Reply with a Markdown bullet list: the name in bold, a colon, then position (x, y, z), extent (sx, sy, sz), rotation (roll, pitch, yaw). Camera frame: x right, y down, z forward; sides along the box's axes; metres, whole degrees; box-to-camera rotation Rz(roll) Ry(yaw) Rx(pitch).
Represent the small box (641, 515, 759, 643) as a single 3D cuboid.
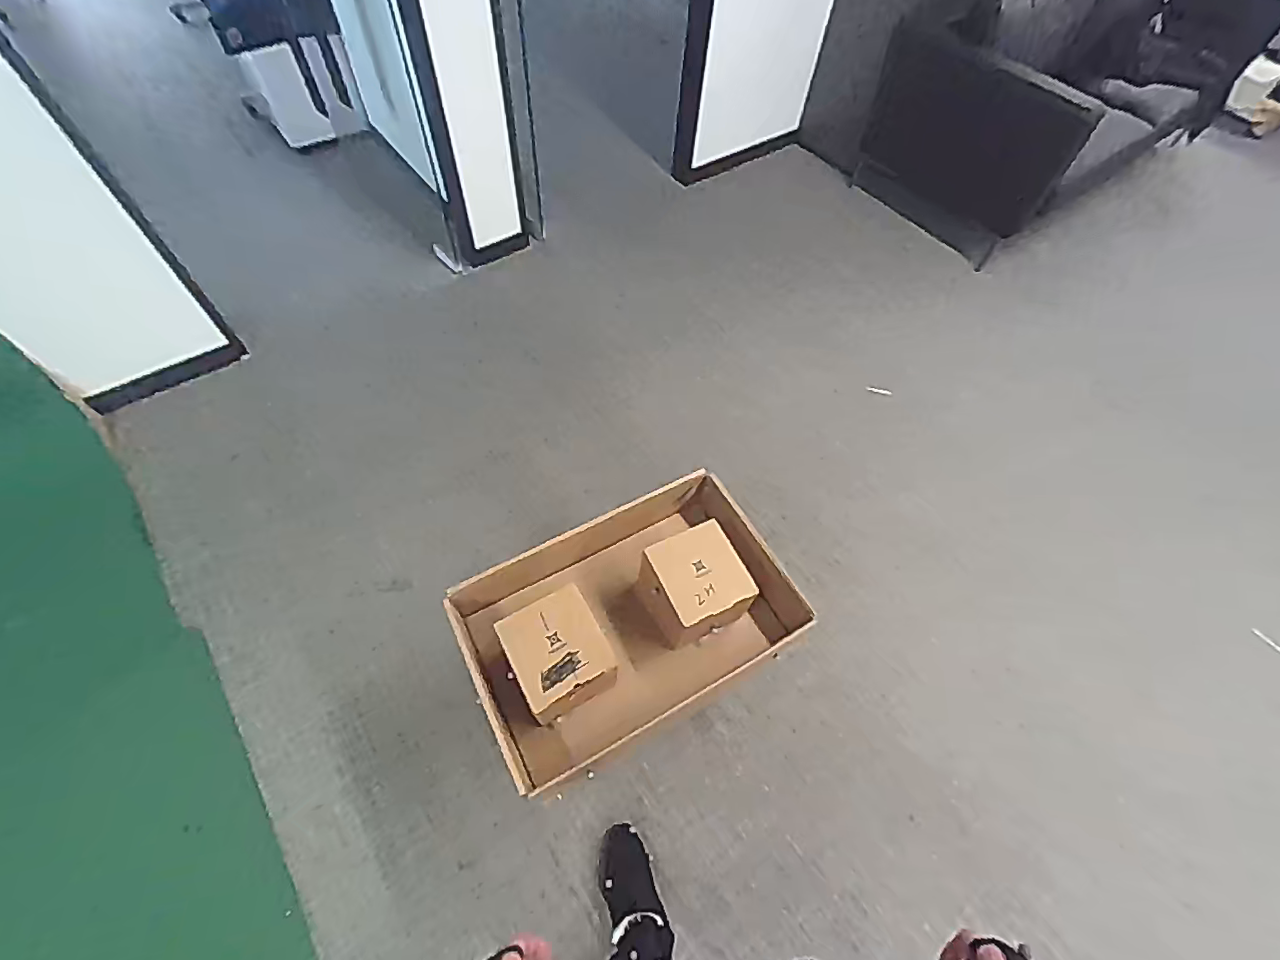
- **small box**: position (0.111, 0.205, 1.101), extent (0.168, 0.176, 0.179), rotation (-21, 63, -16)
